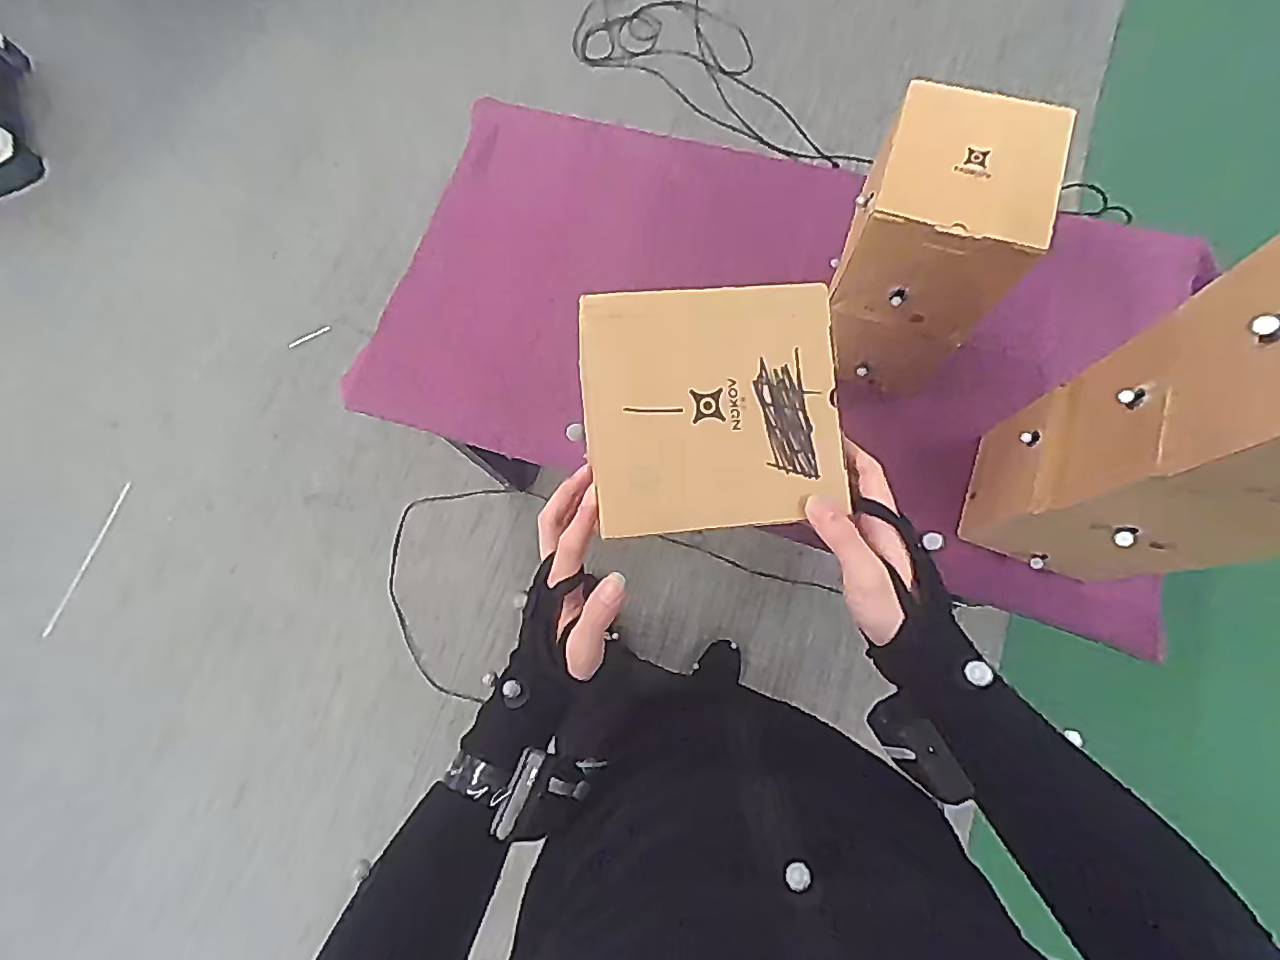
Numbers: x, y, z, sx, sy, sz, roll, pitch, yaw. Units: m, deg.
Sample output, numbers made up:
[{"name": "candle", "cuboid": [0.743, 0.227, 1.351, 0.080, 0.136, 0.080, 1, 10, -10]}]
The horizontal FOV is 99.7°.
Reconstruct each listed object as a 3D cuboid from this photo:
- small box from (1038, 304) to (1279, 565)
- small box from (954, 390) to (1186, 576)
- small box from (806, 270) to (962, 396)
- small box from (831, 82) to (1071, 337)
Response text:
[{"name": "small box", "cuboid": [0.536, -0.033, 0.531, 0.168, 0.176, 0.179, 20, 77, 11]}, {"name": "small box", "cuboid": [0.544, 0.015, 0.688, 0.179, 0.176, 0.168, 21, 76, 10]}, {"name": "small box", "cuboid": [0.353, -0.249, 0.772, 0.168, 0.176, 0.179, 21, 78, 10]}, {"name": "small box", "cuboid": [0.336, -0.294, 0.617, 0.168, 0.176, 0.179, 18, 78, 8]}]
